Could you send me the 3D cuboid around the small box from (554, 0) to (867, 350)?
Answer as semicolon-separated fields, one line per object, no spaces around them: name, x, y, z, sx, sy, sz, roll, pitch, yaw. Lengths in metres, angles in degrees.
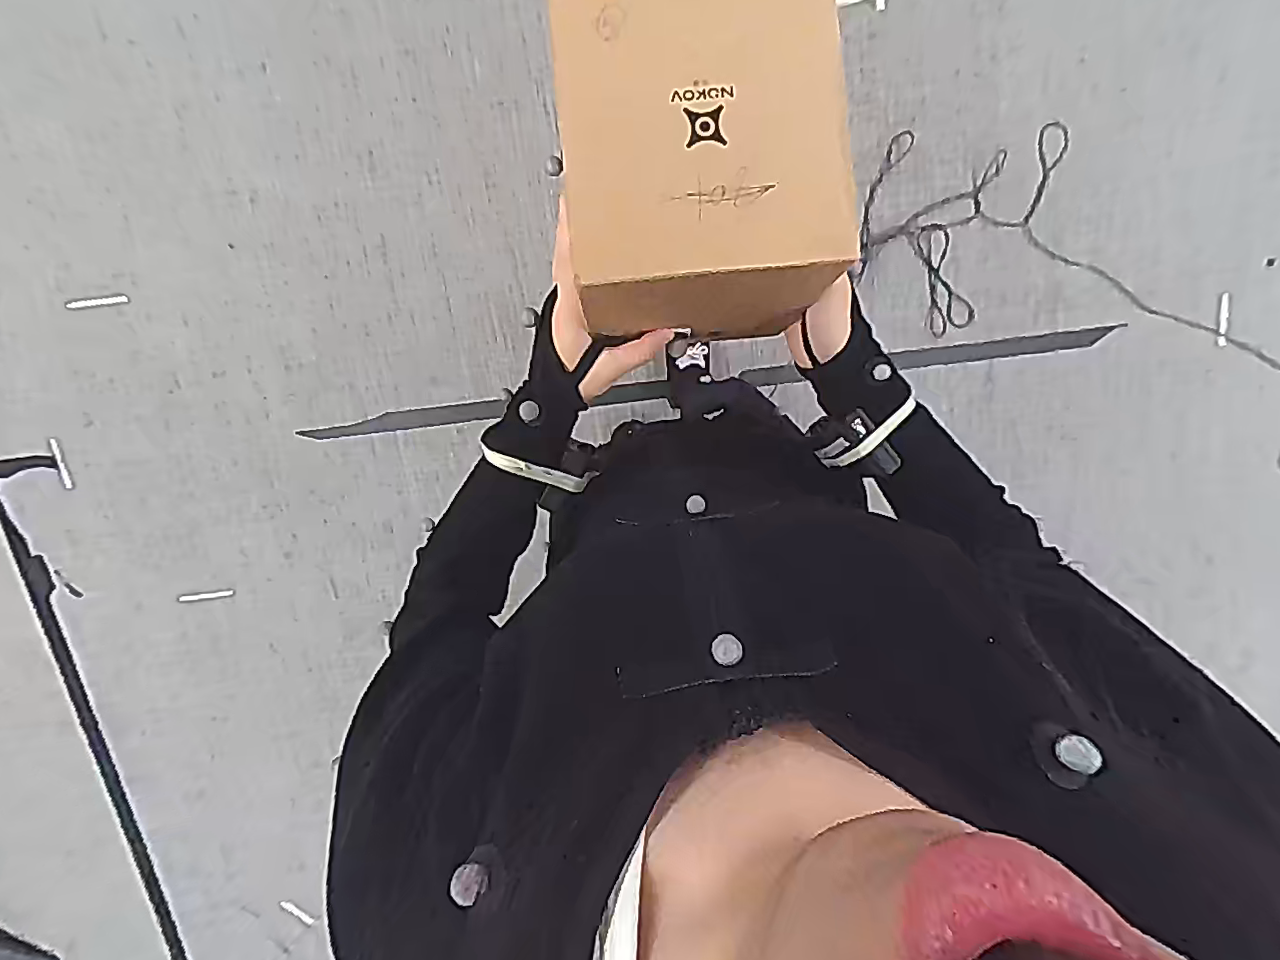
small box;0.037;-0.206;0.385;0.168;0.176;0.179;-7;90;0
